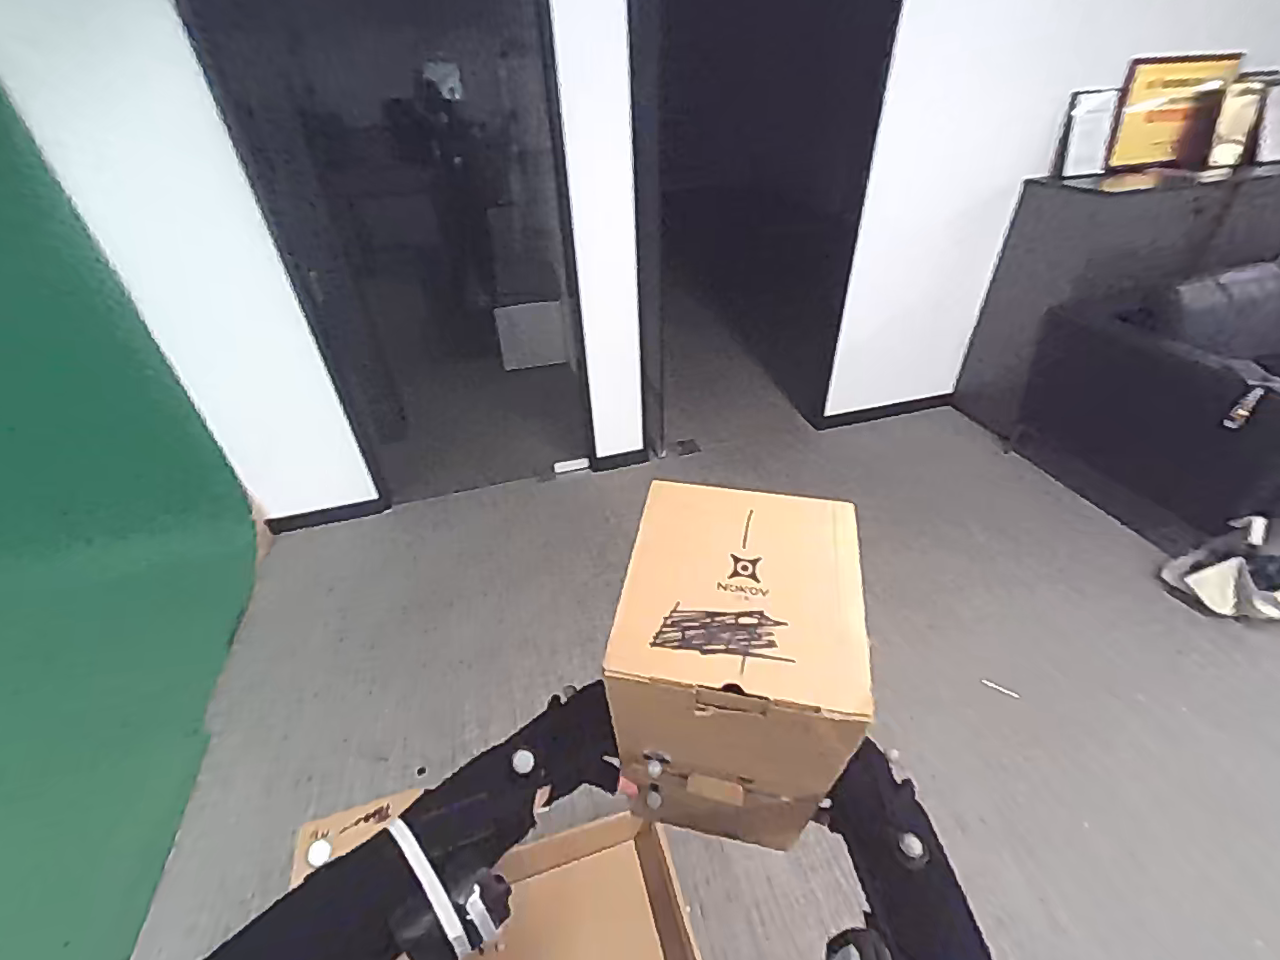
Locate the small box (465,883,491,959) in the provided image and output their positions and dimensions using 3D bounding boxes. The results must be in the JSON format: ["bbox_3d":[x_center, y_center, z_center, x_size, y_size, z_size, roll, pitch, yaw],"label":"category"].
[{"bbox_3d":[-0.352,0.842,0.921,0.168,0.176,0.179,-11,37,-13],"label":"small box"}]

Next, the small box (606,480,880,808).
[{"bbox_3d":[0.082,0.130,0.431,0.168,0.176,0.179,11,47,11],"label":"small box"}]

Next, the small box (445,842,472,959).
[{"bbox_3d":[-0.359,0.706,0.830,0.168,0.176,0.179,-11,37,-15],"label":"small box"}]

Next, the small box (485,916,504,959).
[{"bbox_3d":[-0.348,0.975,1.014,0.168,0.176,0.179,-11,37,-12],"label":"small box"}]

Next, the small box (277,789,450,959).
[{"bbox_3d":[-0.361,0.570,0.738,0.168,0.176,0.179,-11,37,-16],"label":"small box"}]
